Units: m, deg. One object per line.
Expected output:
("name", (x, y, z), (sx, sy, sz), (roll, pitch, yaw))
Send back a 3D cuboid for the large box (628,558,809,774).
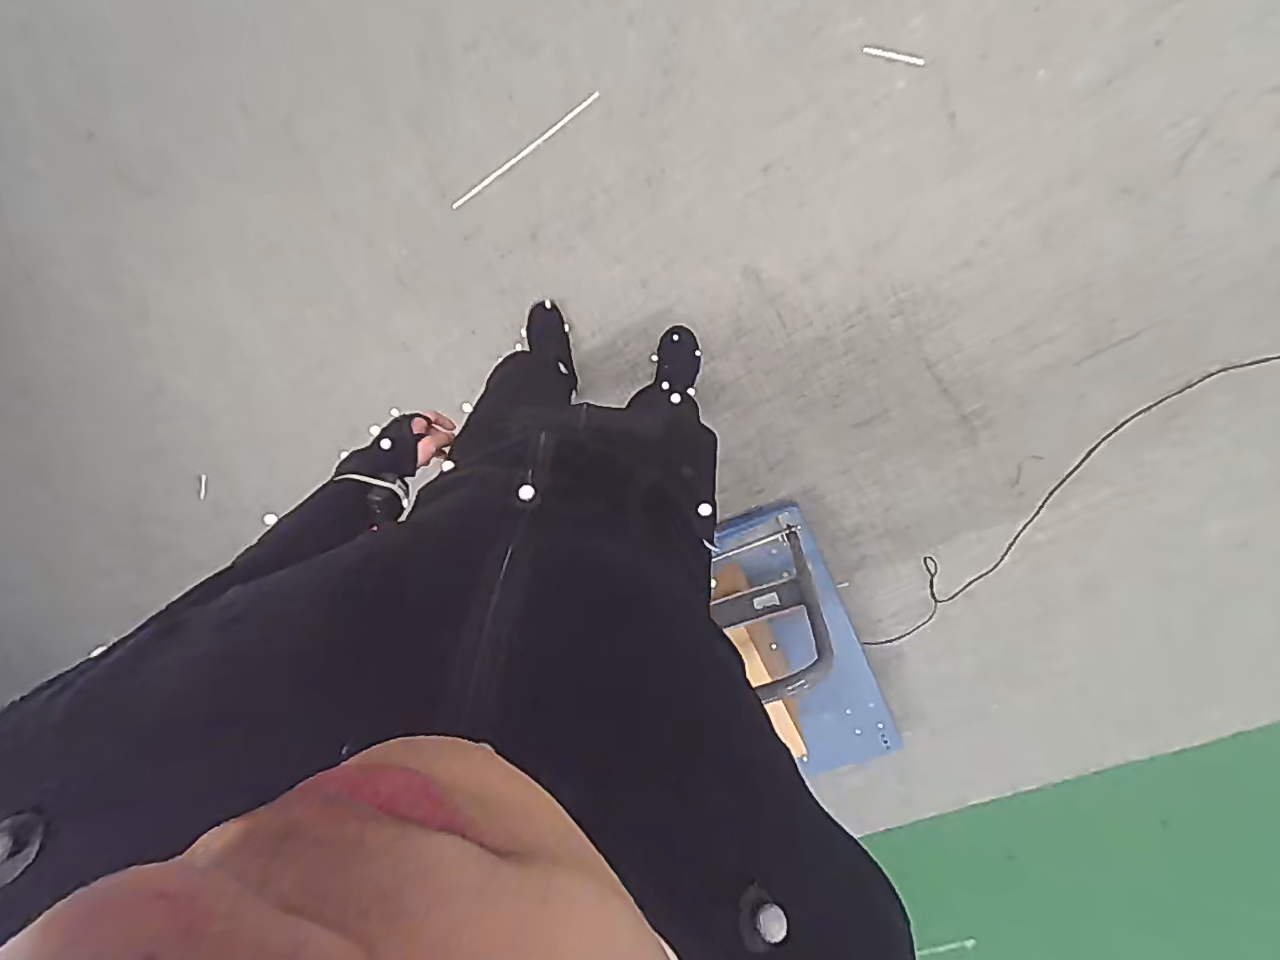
("large box", (0.209, 0.490, 1.462), (0.320, 0.320, 0.408), (-24, 104, 15))
